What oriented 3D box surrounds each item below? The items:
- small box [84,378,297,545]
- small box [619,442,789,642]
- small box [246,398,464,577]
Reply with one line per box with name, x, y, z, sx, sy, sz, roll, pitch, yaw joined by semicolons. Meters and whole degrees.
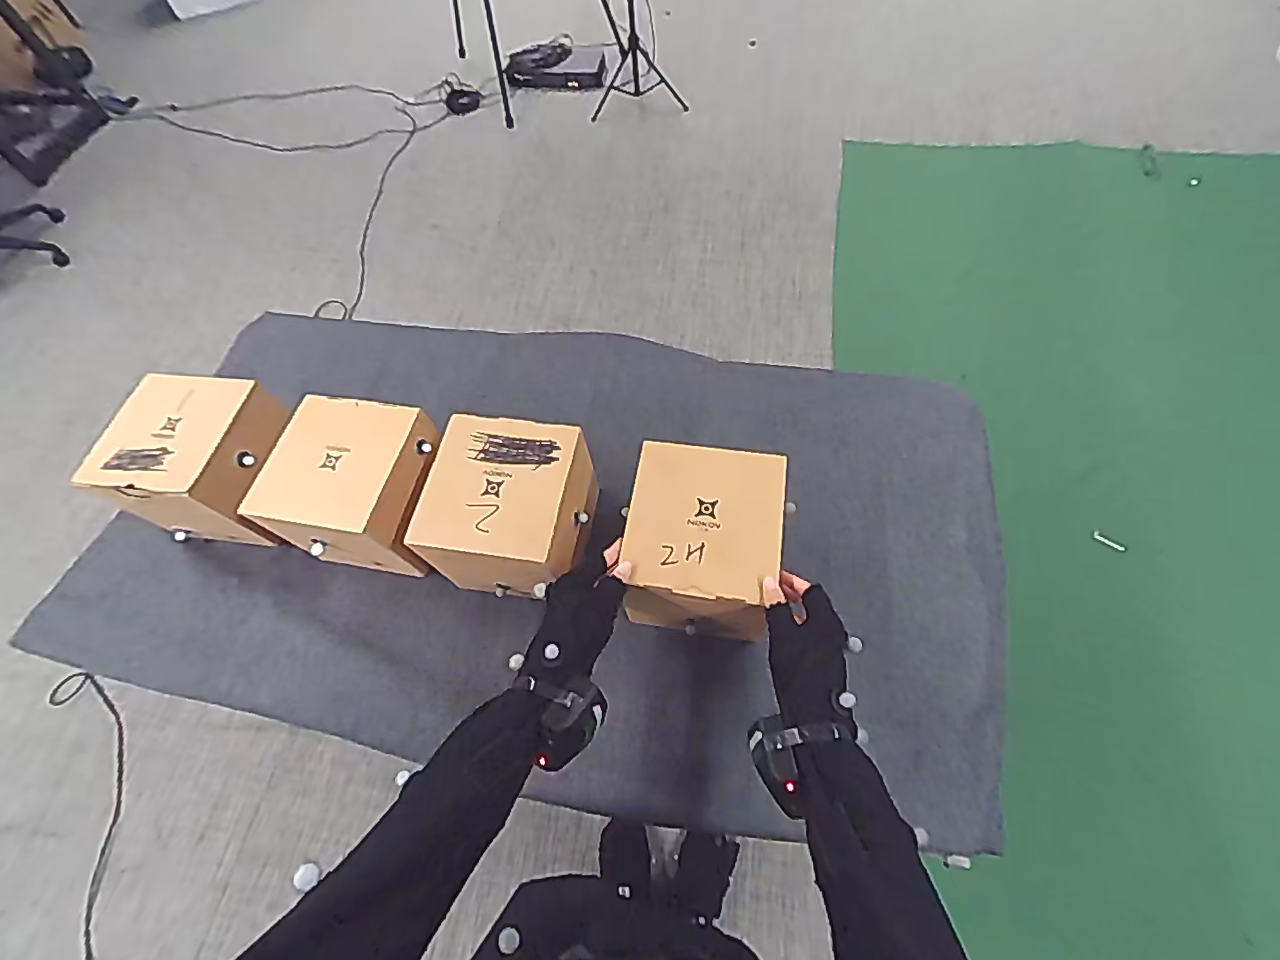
small box;-0.590;-0.021;0.766;0.168;0.176;0.179;5;61;7
small box;0.079;0.078;0.652;0.168;0.176;0.179;7;62;10
small box;-0.360;0.016;0.727;0.168;0.176;0.179;8;61;9
